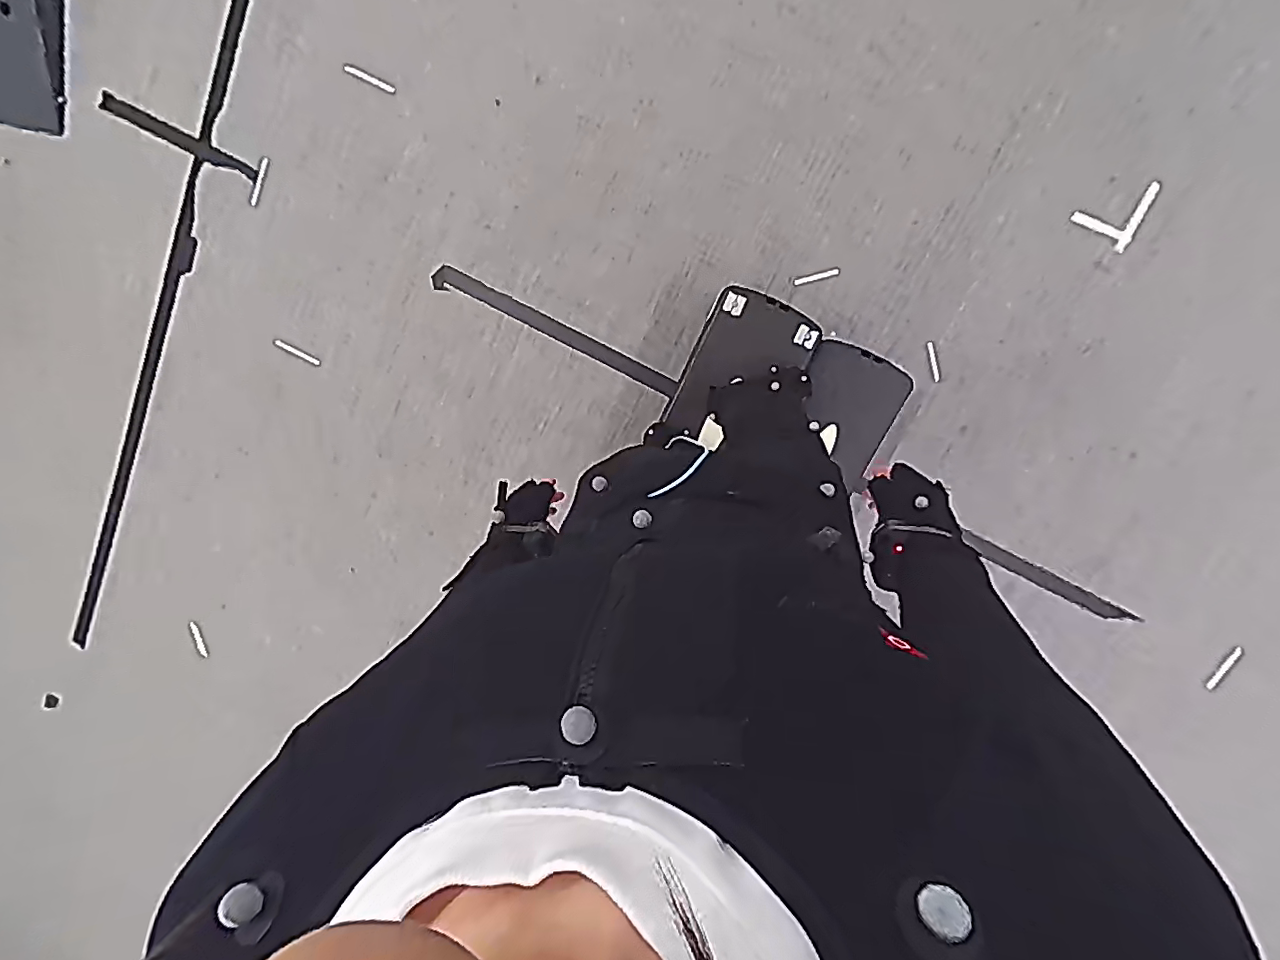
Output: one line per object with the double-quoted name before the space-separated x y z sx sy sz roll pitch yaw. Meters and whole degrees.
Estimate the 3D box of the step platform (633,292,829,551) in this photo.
"step platform" 0.234 -0.151 1.479 0.286 0.204 0.684 25 101 1
